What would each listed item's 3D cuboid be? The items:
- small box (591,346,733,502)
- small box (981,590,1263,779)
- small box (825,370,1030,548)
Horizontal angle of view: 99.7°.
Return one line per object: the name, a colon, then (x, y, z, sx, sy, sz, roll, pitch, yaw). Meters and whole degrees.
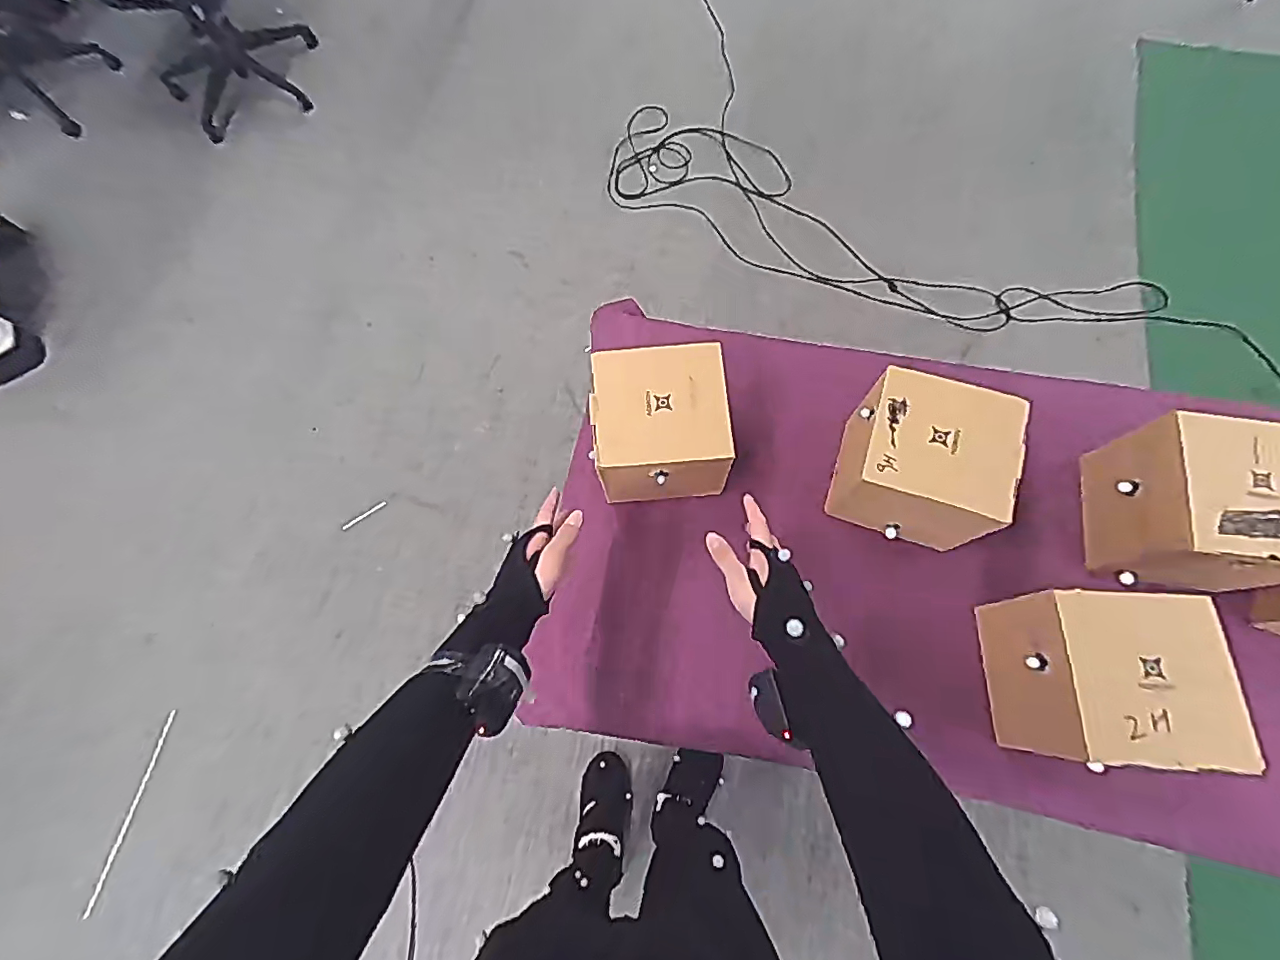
small box: (0.029, -0.070, 0.767, 0.179, 0.176, 0.168, -4, 72, 1)
small box: (0.533, 0.234, 0.633, 0.168, 0.176, 0.179, 2, 70, 5)
small box: (0.374, -0.018, 0.731, 0.179, 0.176, 0.168, 18, 73, 9)
